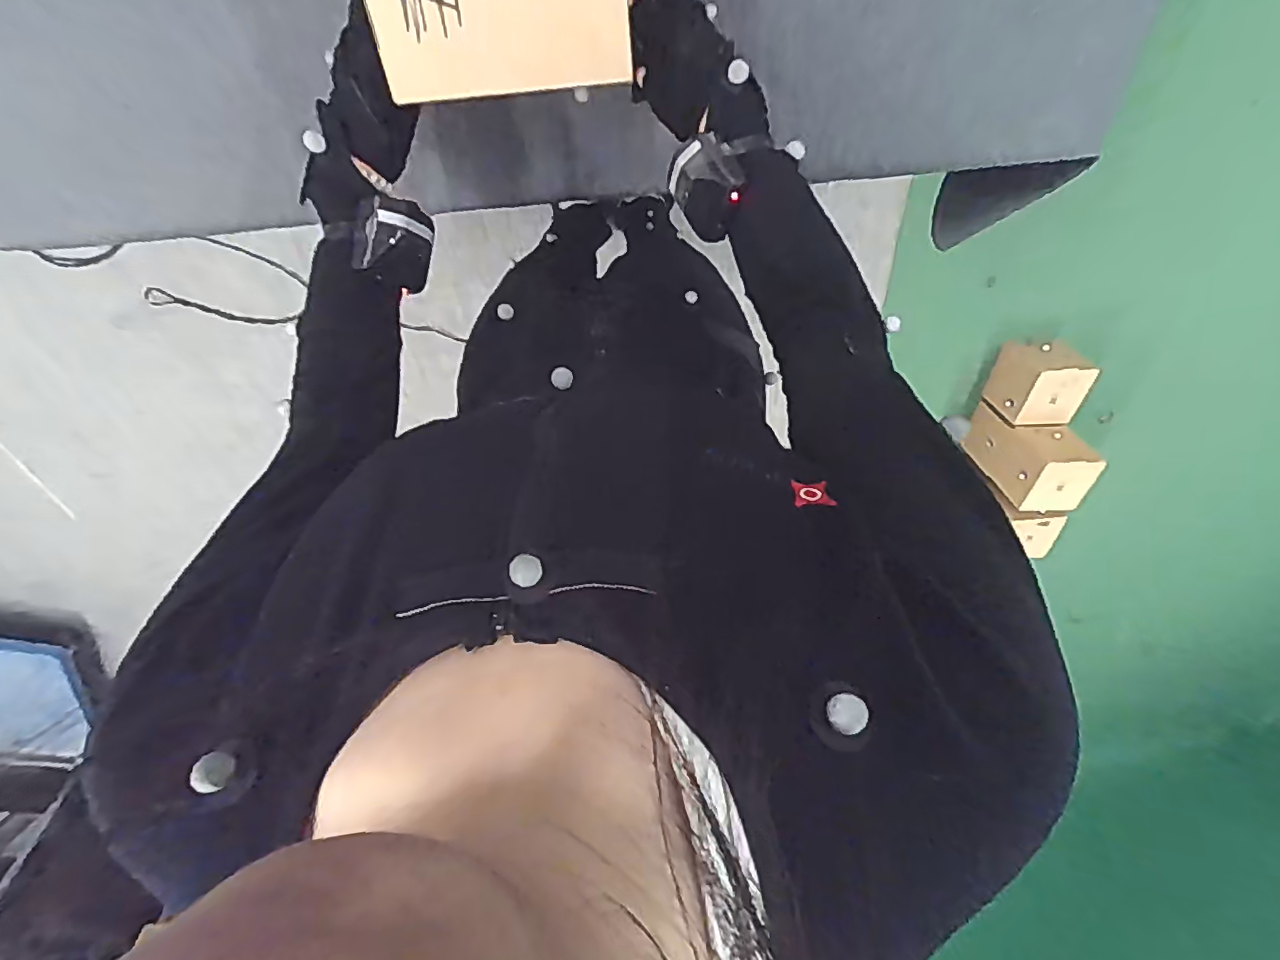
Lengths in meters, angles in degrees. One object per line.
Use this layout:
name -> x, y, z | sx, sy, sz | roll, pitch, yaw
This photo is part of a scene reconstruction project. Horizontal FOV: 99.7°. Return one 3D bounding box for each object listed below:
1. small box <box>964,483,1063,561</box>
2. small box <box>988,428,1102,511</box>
small box -> 1.139, 0.126, 1.669 | 0.168, 0.176, 0.179 | -5, 131, -1
small box -> 1.138, -0.030, 1.542 | 0.168, 0.176, 0.179 | 0, 128, -3
